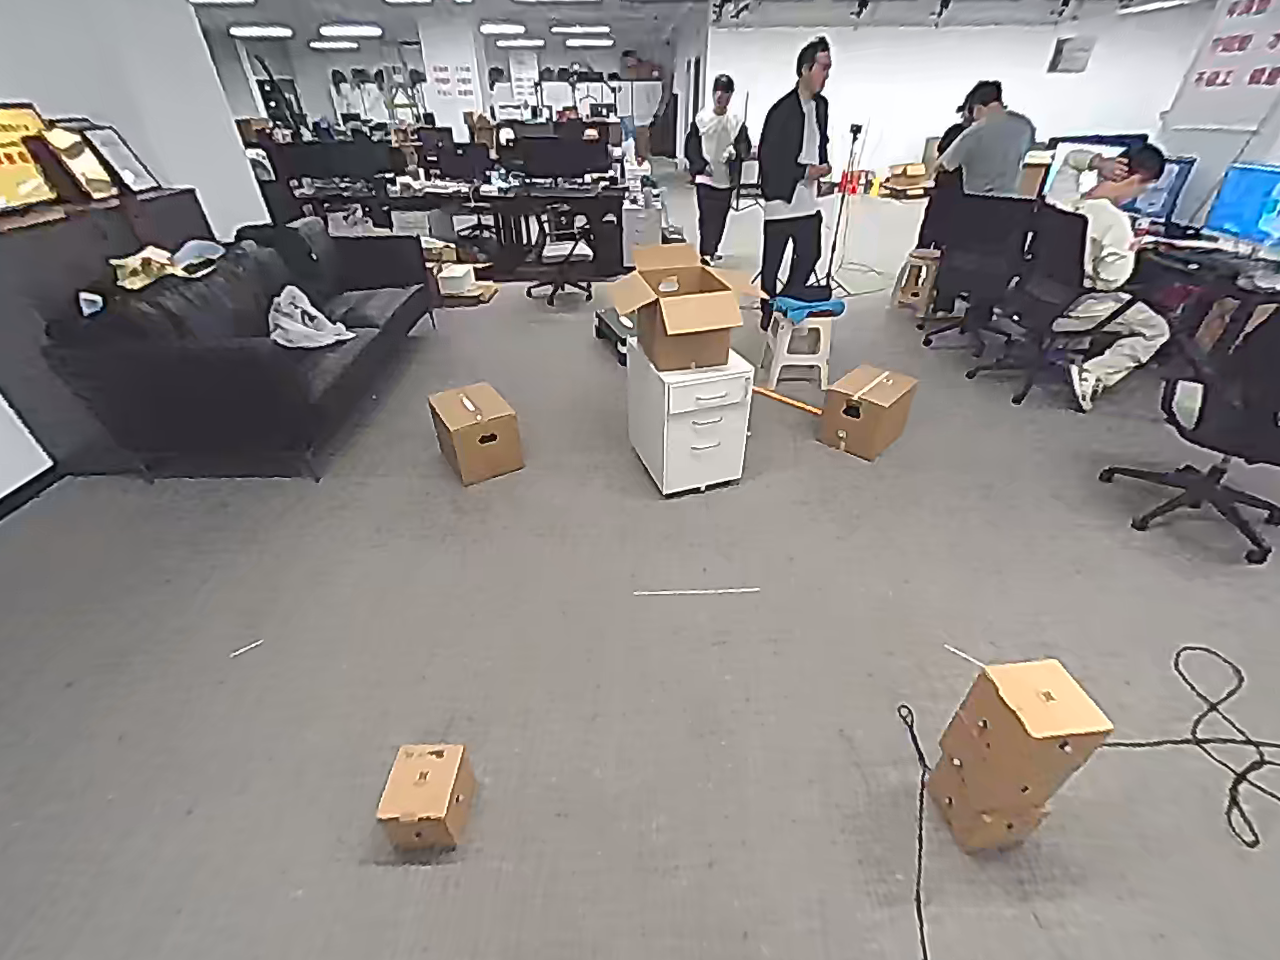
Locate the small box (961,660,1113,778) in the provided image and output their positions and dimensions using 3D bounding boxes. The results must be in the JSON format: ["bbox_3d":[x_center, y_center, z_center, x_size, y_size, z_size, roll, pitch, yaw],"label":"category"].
[{"bbox_3d":[0.837,0.513,1.163,0.179,0.176,0.168,-5,35,-4],"label":"small box"}]

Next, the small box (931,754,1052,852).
[{"bbox_3d":[0.853,0.788,1.338,0.179,0.176,0.168,-5,35,-7],"label":"small box"}]

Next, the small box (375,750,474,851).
[{"bbox_3d":[-0.530,0.807,1.361,0.168,0.176,0.179,-1,35,1],"label":"small box"}]

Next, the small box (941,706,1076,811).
[{"bbox_3d":[0.844,0.643,1.260,0.179,0.176,0.168,-4,34,-3],"label":"small box"}]
